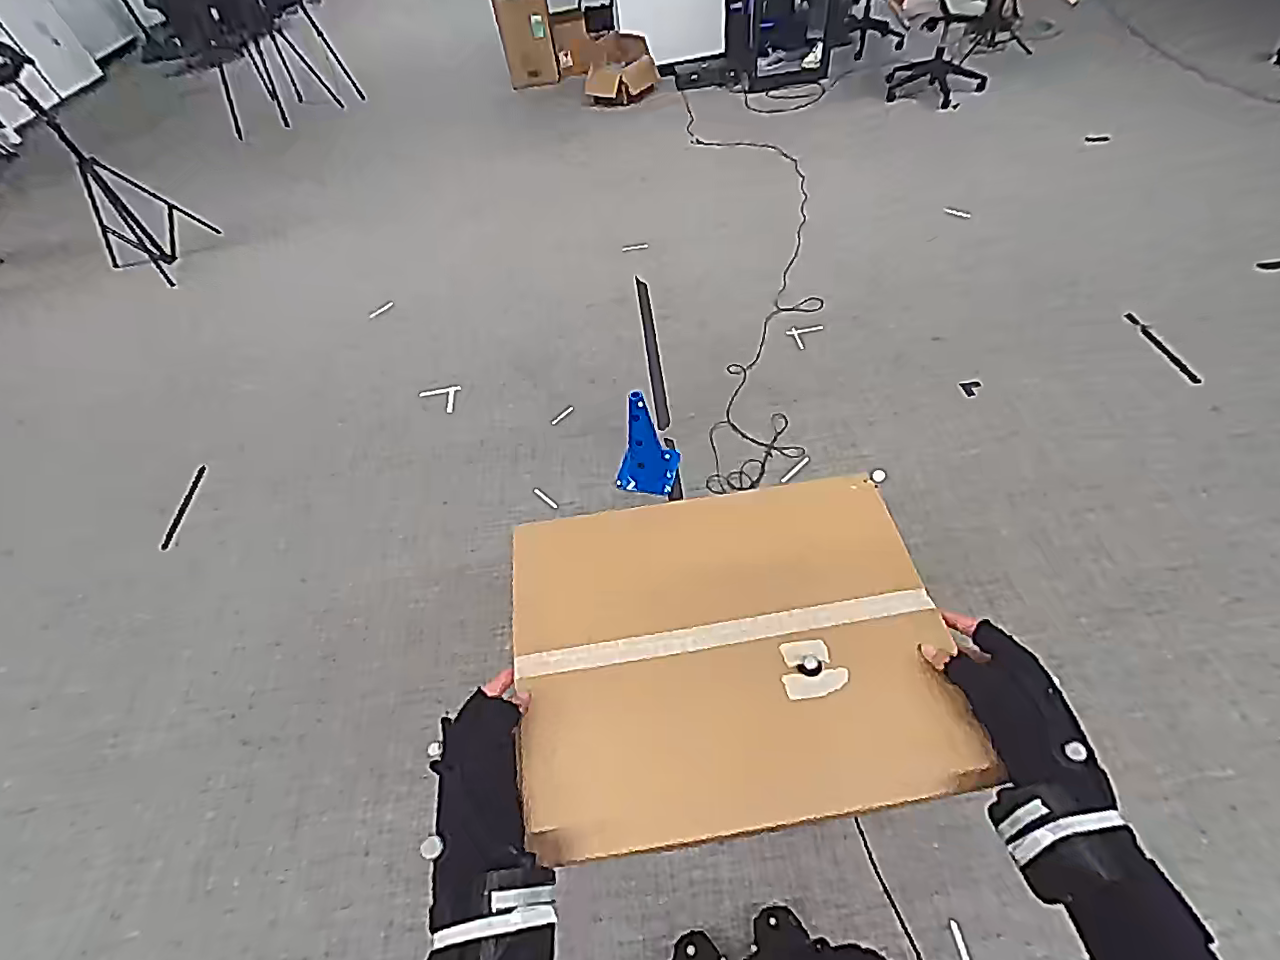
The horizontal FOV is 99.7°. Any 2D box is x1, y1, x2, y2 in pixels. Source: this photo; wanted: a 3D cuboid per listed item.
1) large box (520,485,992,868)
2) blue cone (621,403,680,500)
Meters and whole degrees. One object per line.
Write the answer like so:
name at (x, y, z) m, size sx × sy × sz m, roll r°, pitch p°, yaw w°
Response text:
large box at (0.089, 0.245, 0.653) m, size 0.408 × 0.320 × 0.320 m, roll -9°, pitch 55°, yaw -2°
blue cone at (0.017, -0.114, 1.781) m, size 0.193 × 0.380 × 0.192 m, roll 8°, pitch 54°, yaw 16°
